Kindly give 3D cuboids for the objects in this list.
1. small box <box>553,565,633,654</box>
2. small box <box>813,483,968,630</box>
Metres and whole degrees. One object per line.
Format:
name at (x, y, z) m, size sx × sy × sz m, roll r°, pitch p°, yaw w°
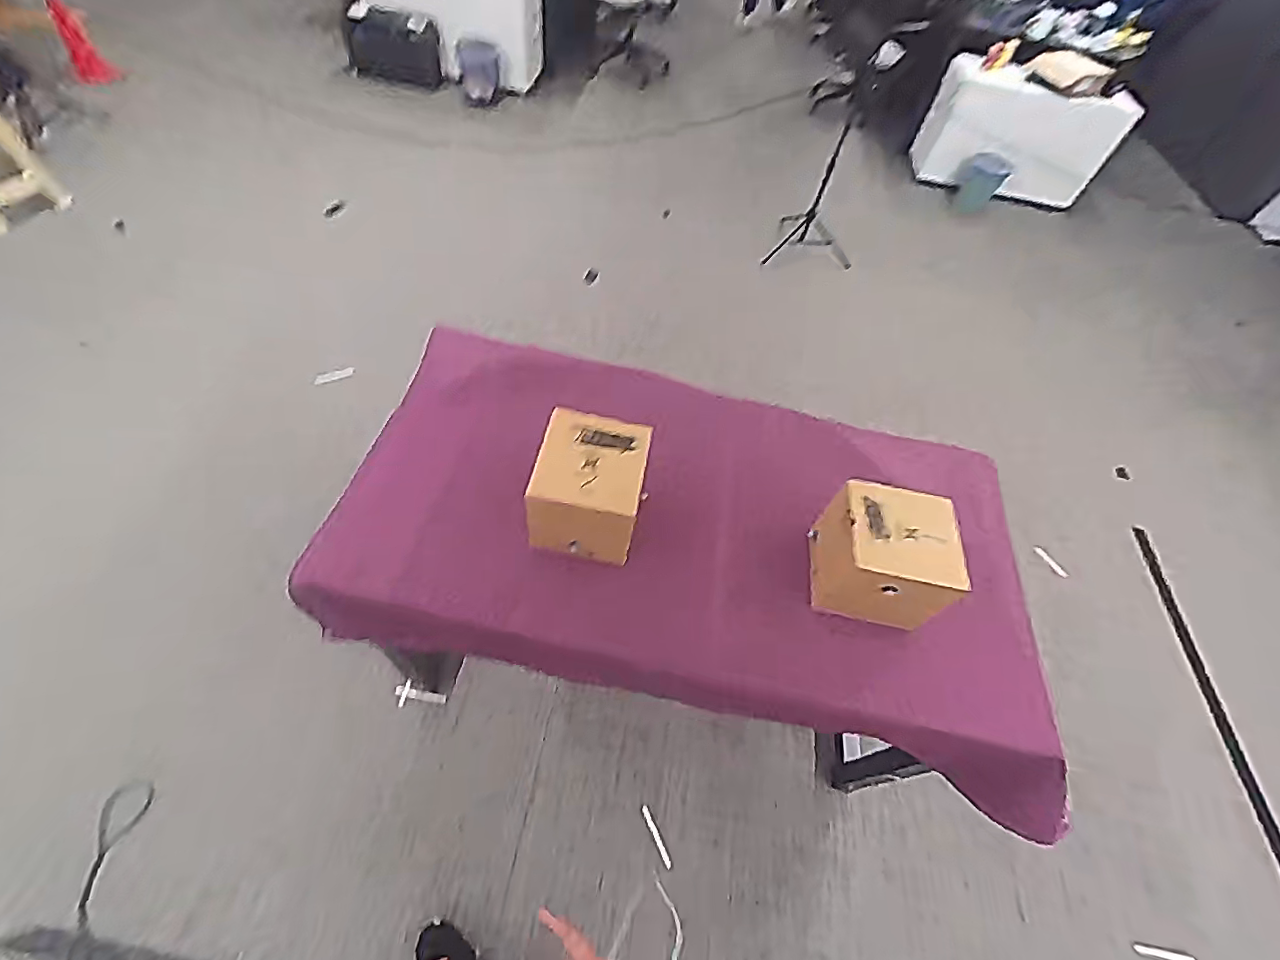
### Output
small box at (-0.125, 0.348, 1.430) m, size 0.179 × 0.176 × 0.168 m, roll 11°, pitch 54°, yaw -1°
small box at (0.398, 0.132, 0.897) m, size 0.179 × 0.176 × 0.168 m, roll 12°, pitch 54°, yaw 0°
